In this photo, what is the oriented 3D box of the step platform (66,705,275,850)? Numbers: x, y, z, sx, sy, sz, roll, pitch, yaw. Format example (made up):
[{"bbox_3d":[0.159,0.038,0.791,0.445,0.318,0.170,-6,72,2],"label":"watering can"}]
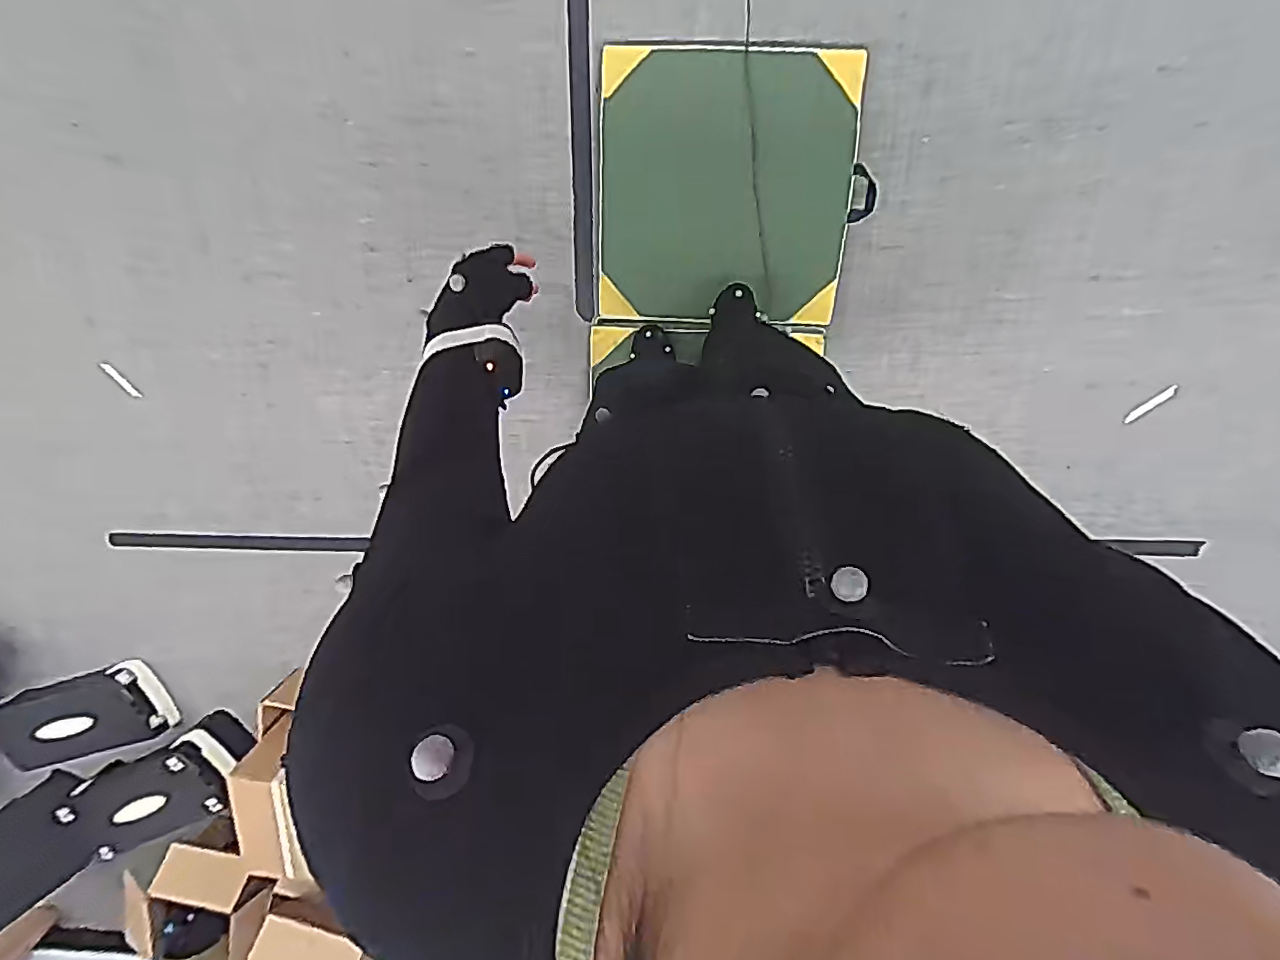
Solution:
[{"bbox_3d":[-1.721,1.097,1.984,0.684,0.204,0.286,-27,105,11],"label":"step platform"}]
